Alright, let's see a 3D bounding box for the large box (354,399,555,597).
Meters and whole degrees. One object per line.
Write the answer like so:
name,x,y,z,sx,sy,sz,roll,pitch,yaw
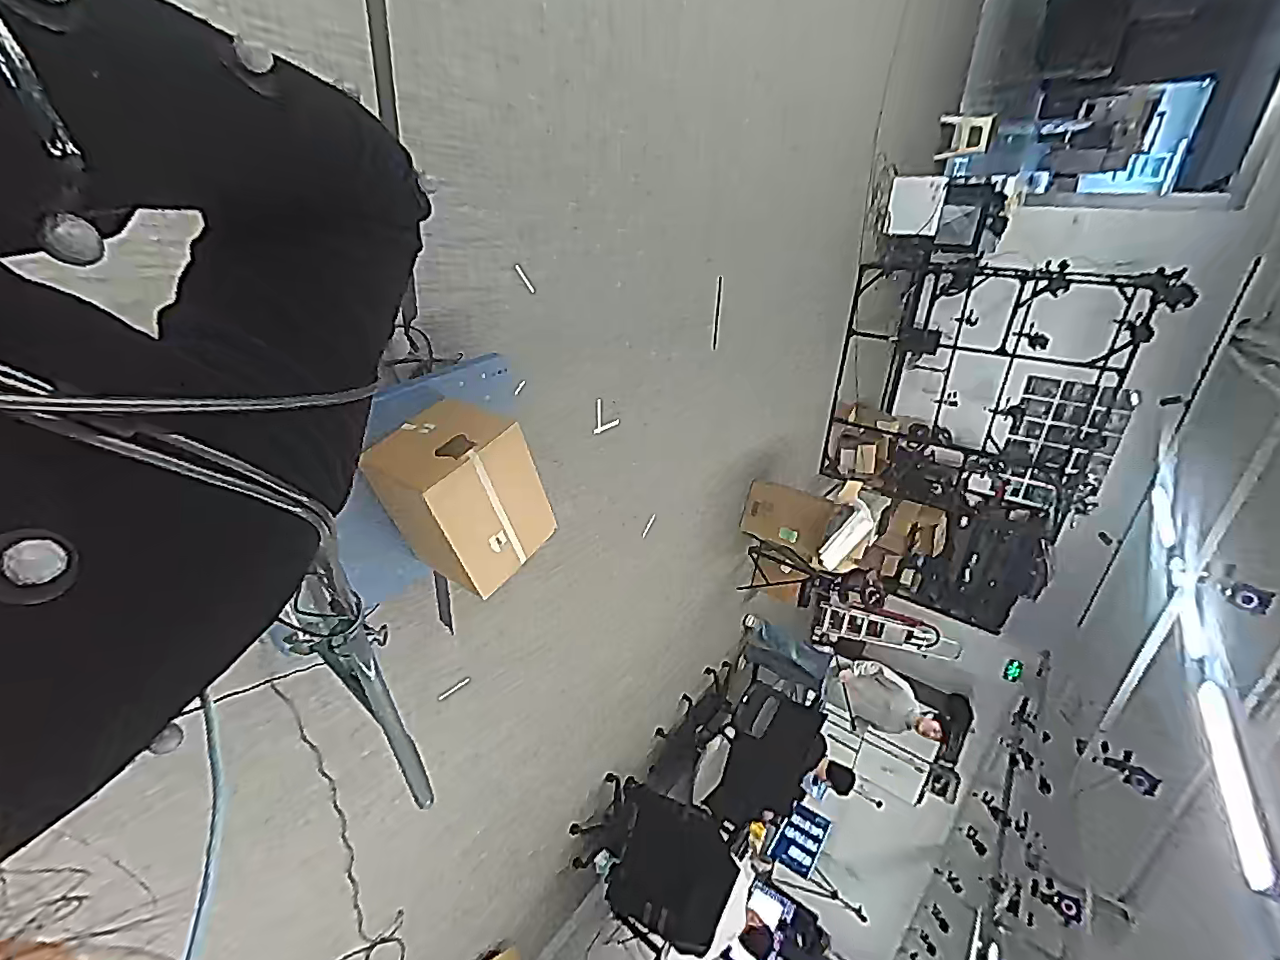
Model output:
large box,-0.496,0.043,1.506,0.320,0.320,0.408,-46,140,-33
